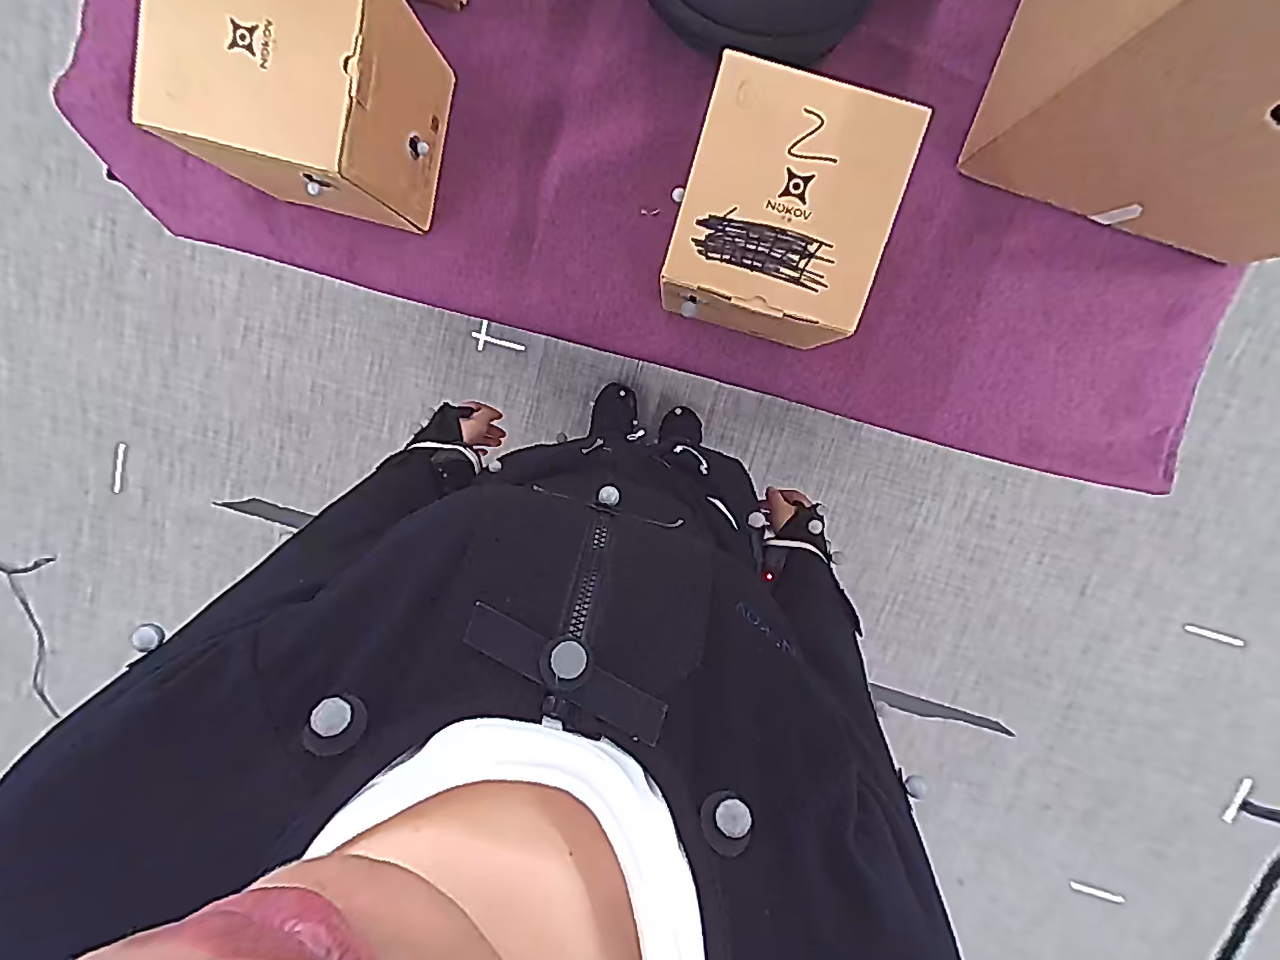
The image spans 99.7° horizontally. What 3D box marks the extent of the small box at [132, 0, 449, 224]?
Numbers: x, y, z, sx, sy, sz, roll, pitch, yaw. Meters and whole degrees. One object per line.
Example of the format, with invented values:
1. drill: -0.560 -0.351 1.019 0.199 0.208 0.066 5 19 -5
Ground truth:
1. small box: -0.305 -0.361 0.504 0.179 0.176 0.168 13 99 -1
